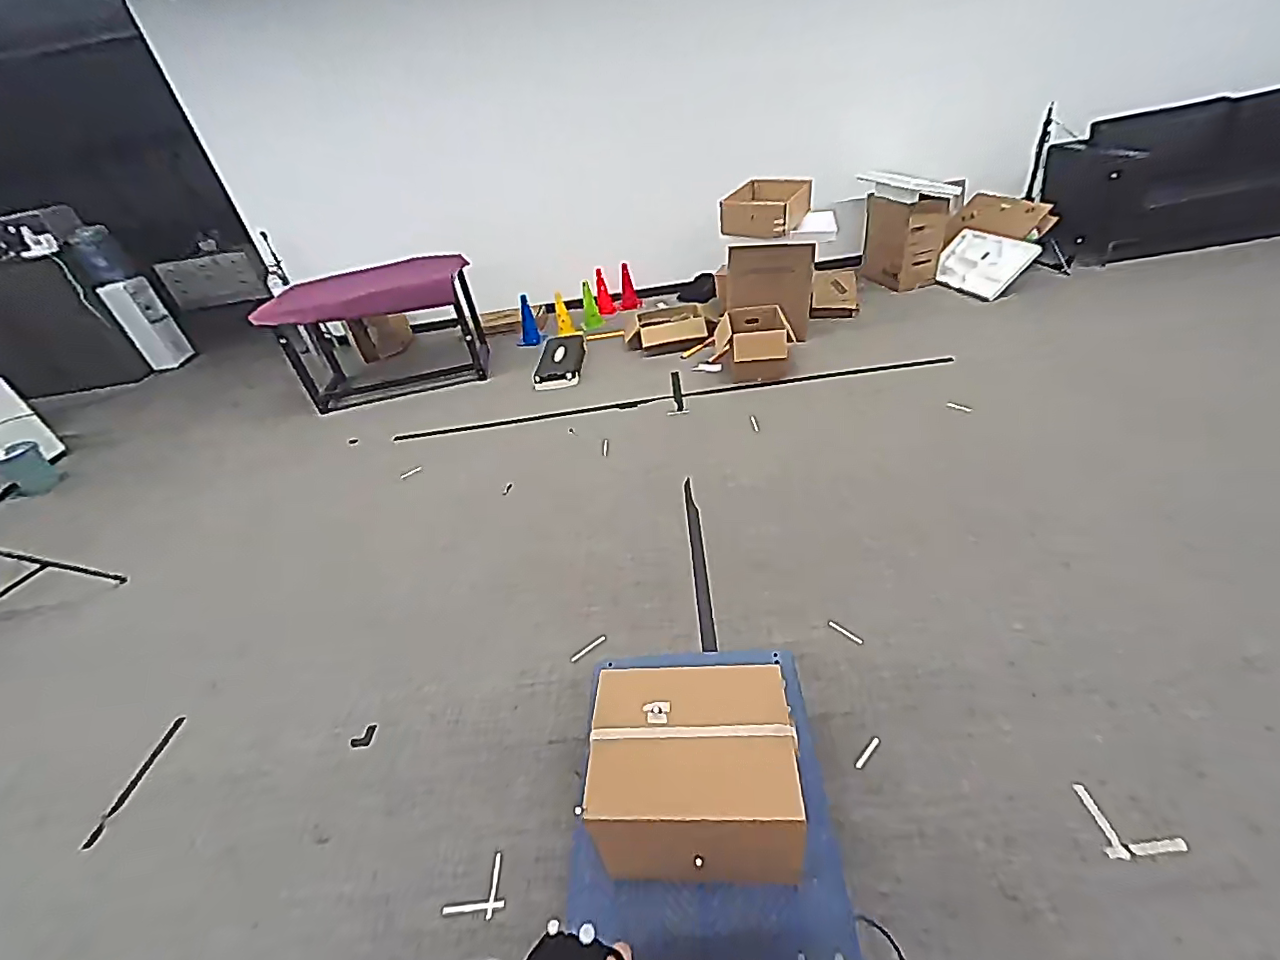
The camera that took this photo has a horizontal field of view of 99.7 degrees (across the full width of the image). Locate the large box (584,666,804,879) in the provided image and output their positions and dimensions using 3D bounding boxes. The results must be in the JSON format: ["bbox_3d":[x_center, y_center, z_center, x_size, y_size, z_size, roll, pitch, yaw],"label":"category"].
[{"bbox_3d":[0.123,0.639,1.180,0.408,0.320,0.320,-6,35,8],"label":"large box"}]
